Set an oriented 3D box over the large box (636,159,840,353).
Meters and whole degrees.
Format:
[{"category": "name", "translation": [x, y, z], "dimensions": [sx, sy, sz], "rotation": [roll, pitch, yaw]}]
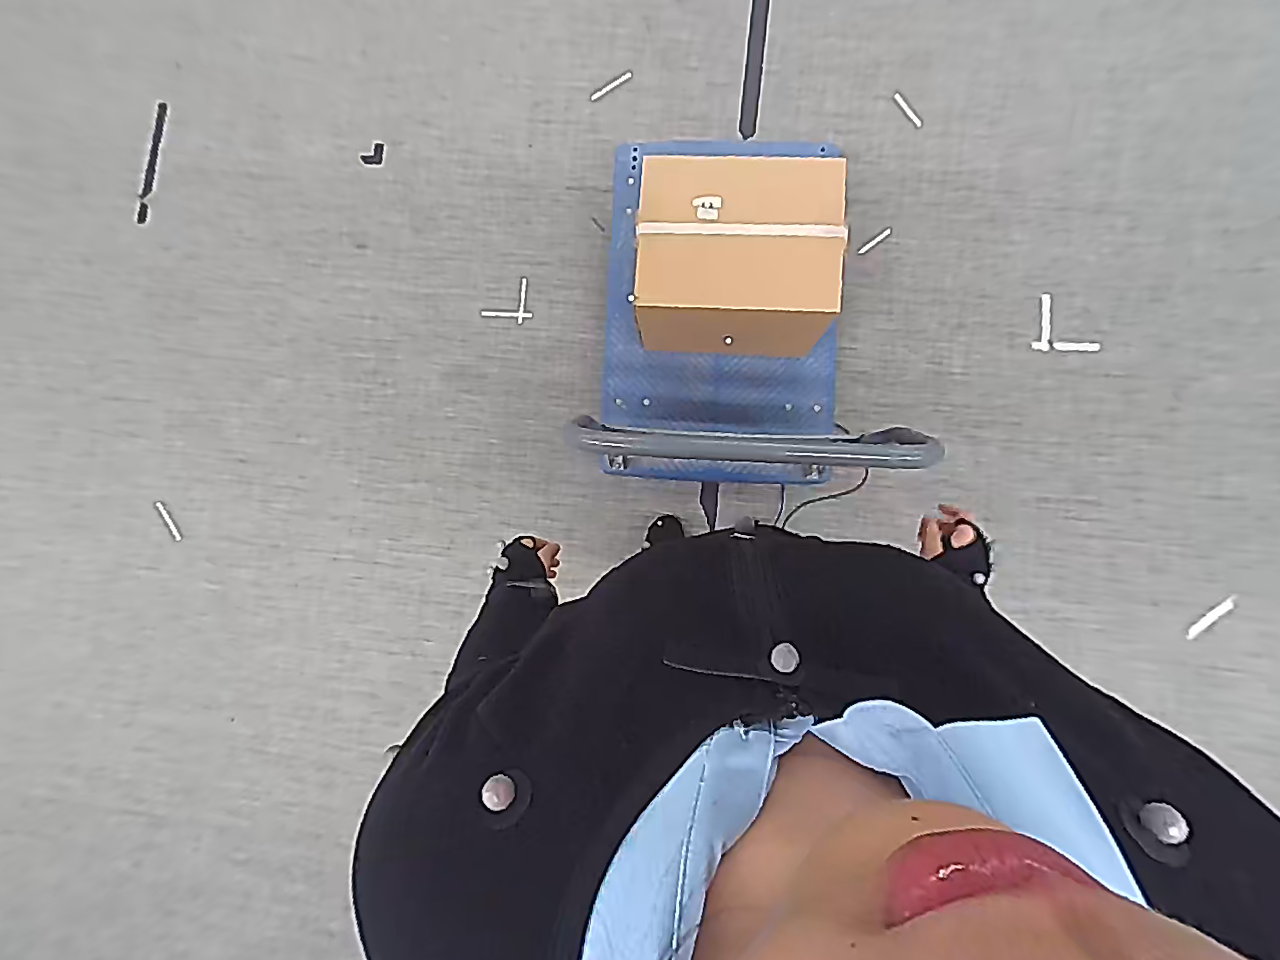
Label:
[{"category": "large box", "translation": [0.212, -0.483, 1.230], "dimensions": [0.408, 0.320, 0.320], "rotation": [3, 86, 6]}]
